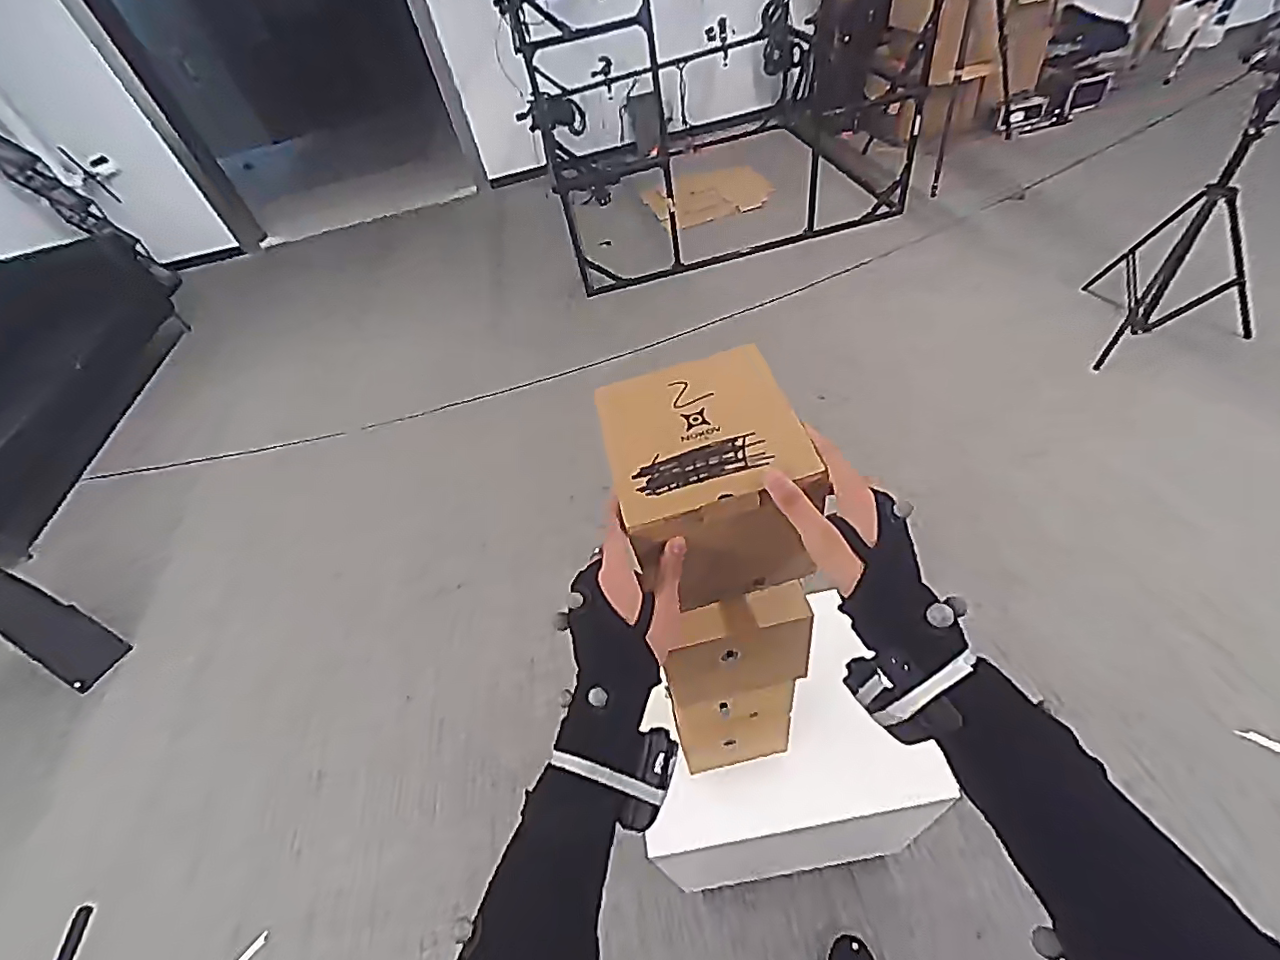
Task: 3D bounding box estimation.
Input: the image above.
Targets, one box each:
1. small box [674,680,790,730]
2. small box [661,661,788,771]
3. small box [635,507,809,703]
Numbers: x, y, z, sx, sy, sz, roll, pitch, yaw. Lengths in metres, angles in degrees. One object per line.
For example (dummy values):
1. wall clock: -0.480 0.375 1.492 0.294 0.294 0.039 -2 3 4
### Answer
1. small box: 0.126 0.262 0.826 0.168 0.176 0.179 -13 46 1
2. small box: 0.144 0.382 0.936 0.179 0.176 0.168 -13 47 -1
3. small box: 0.103 0.165 0.694 0.179 0.176 0.168 -13 47 1
